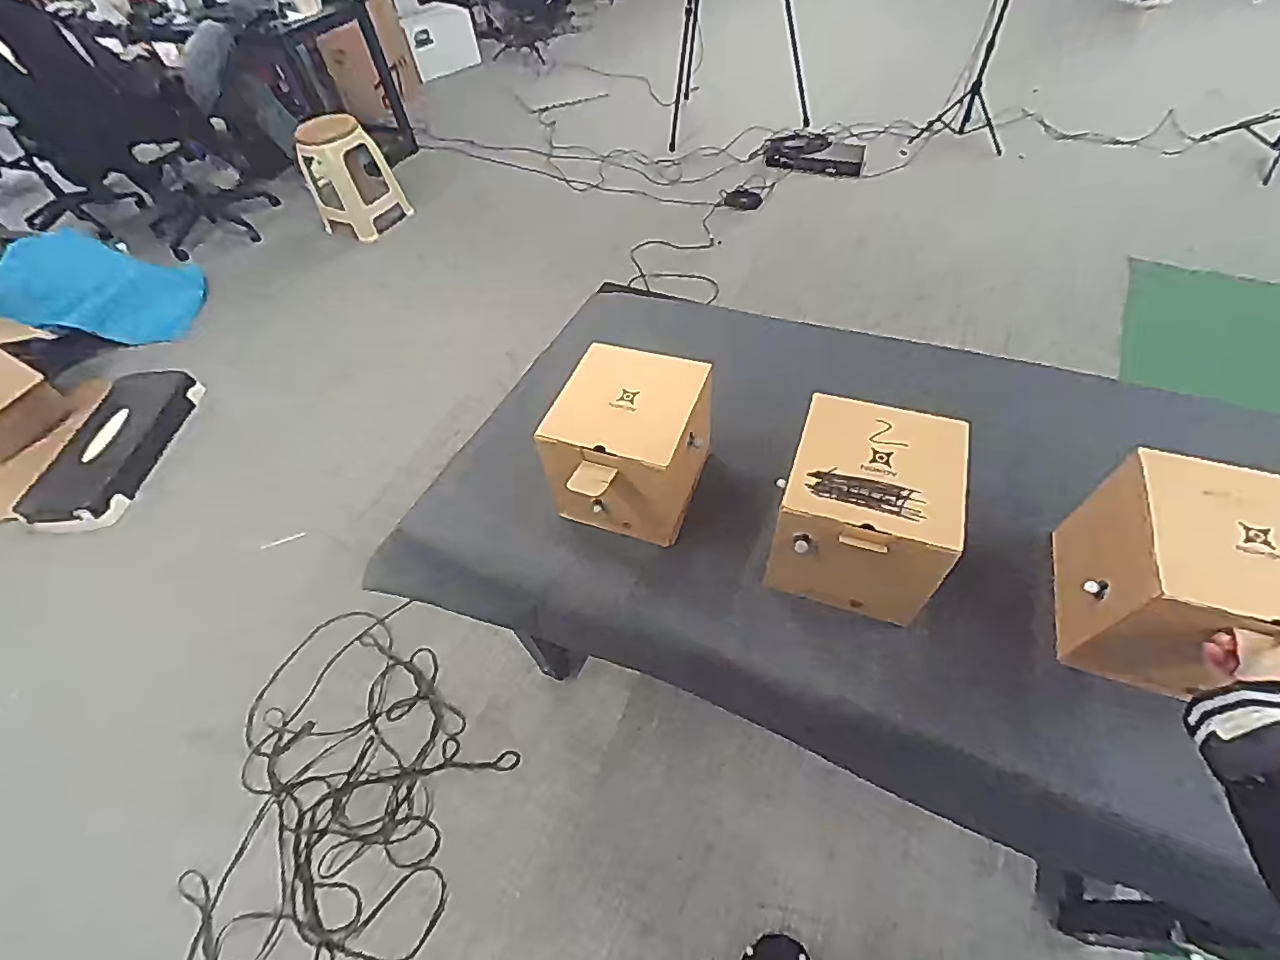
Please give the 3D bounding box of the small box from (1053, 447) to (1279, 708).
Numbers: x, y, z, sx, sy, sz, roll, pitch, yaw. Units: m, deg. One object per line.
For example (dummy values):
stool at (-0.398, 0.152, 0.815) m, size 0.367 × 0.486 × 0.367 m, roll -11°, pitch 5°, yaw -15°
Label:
small box at (0.547, 0.100, 0.538) m, size 0.168 × 0.176 × 0.179 m, roll 16°, pitch 55°, yaw 16°

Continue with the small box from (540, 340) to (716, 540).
small box at (-0.007, -0.052, 0.710) m, size 0.168 × 0.176 × 0.179 m, roll 15°, pitch 56°, yaw 16°
